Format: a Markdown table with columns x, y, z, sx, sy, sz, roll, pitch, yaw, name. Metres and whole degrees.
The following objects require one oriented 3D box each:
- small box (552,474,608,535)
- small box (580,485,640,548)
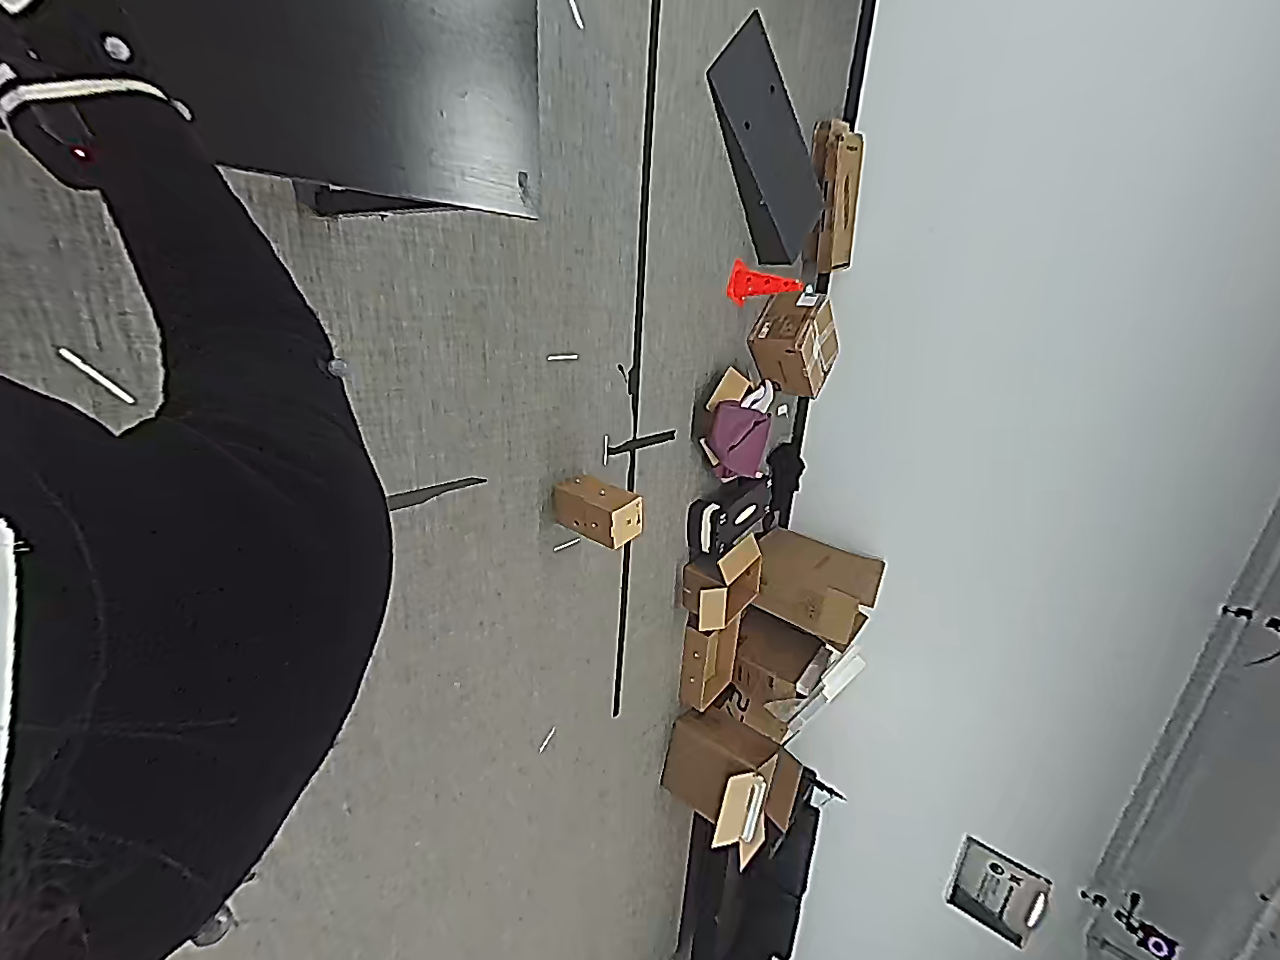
| x | y | z | sx | sy | sz | roll | pitch | yaw | name |
| --- | --- | --- | --- | --- | --- | --- | --- | --- | --- |
| -0.243 | 0.094 | 2.216 | 0.168 | 0.176 | 0.179 | -27 | 126 | -45 | small box |
| -0.121 | 0.137 | 2.115 | 0.179 | 0.176 | 0.168 | -28 | 126 | -44 | small box |
